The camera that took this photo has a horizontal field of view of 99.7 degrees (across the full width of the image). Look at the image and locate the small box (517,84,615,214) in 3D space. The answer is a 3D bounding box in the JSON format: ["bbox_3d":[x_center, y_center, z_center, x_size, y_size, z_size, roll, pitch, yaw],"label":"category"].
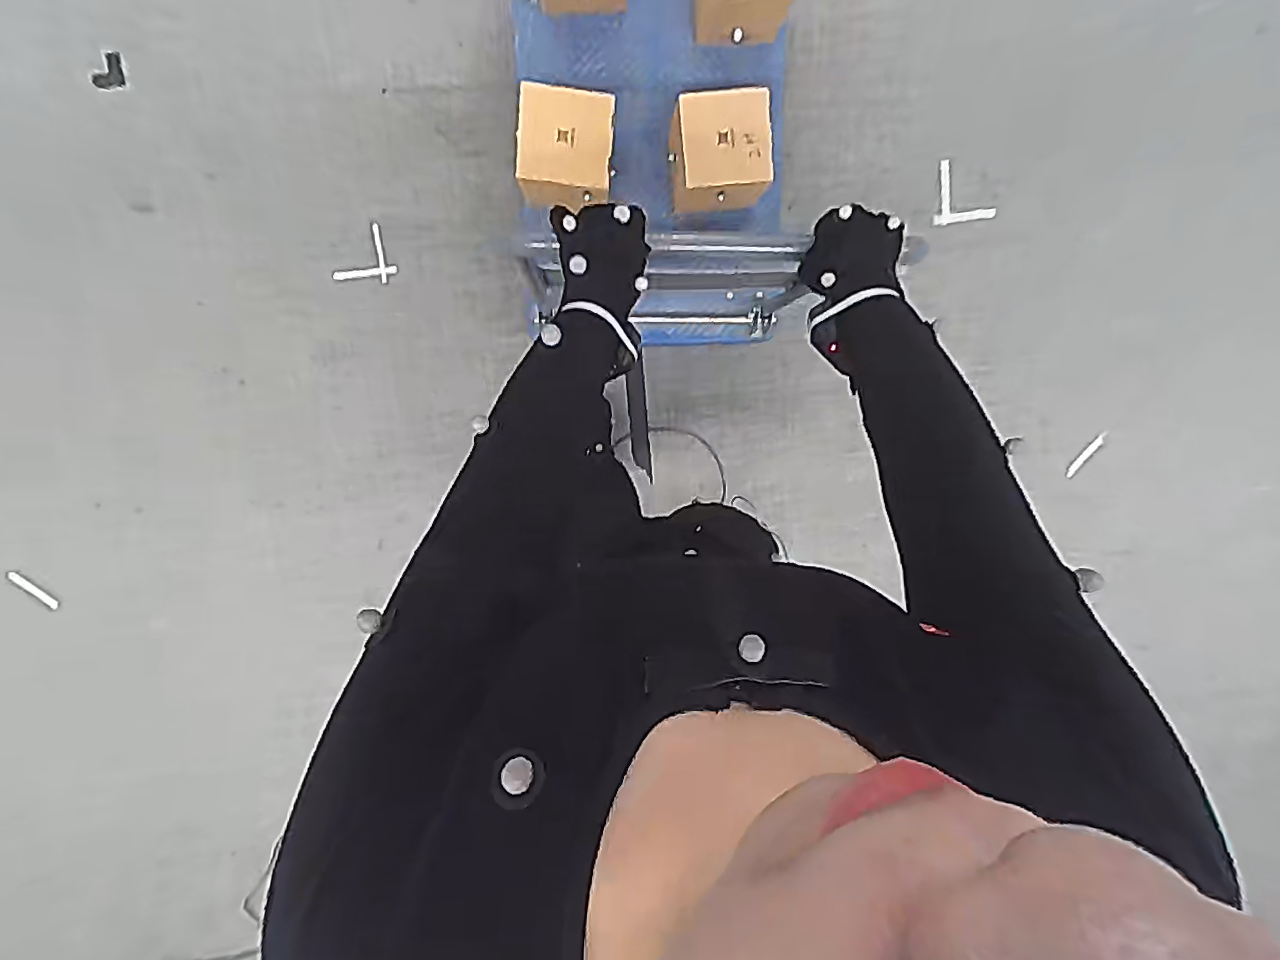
[{"bbox_3d":[-0.148,-0.658,1.096,0.179,0.176,0.168,4,100,-7],"label":"small box"}]

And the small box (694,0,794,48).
[{"bbox_3d":[0.200,-1.000,1.064,0.168,0.176,0.179,-5,101,-4],"label":"small box"}]

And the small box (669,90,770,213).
[{"bbox_3d":[0.157,-0.669,1.120,0.179,0.176,0.168,-7,101,-4],"label":"small box"}]
